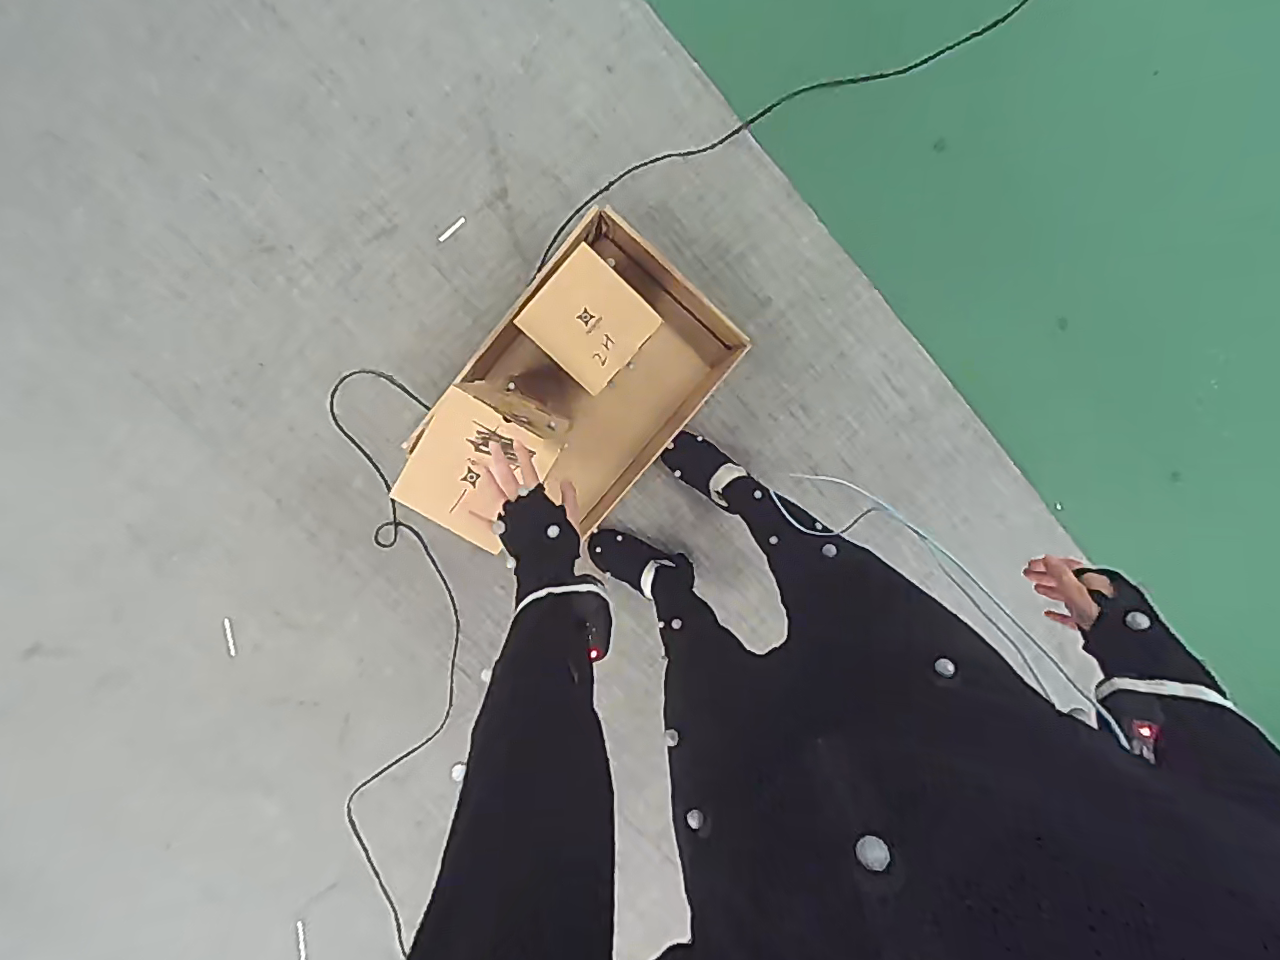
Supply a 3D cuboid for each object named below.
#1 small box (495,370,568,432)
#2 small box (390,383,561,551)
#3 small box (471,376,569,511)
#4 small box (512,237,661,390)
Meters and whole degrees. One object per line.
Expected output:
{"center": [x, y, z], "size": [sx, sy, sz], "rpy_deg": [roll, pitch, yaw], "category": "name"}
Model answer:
{"center": [-0.260, -0.106, 1.114], "size": [0.168, 0.176, 0.179], "rpy_deg": [40, 95, -10], "category": "small box"}
{"center": [-0.227, -0.030, 0.798], "size": [0.168, 0.176, 0.179], "rpy_deg": [31, 97, -9], "category": "small box"}
{"center": [-0.233, -0.071, 0.957], "size": [0.168, 0.176, 0.179], "rpy_deg": [24, 98, -8], "category": "small box"}
{"center": [-0.087, -0.272, 0.921], "size": [0.179, 0.176, 0.168], "rpy_deg": [42, 97, -10], "category": "small box"}
